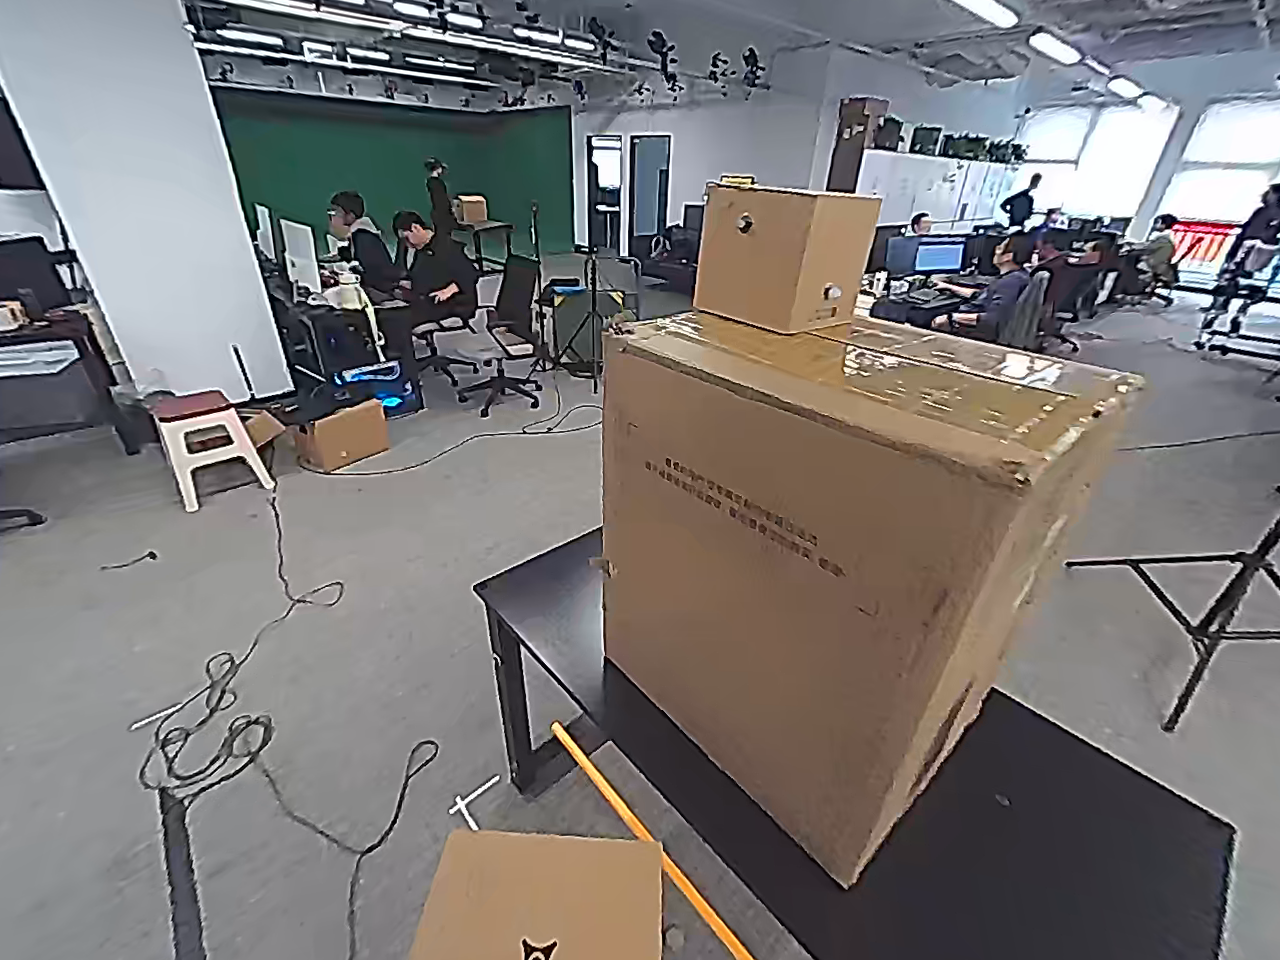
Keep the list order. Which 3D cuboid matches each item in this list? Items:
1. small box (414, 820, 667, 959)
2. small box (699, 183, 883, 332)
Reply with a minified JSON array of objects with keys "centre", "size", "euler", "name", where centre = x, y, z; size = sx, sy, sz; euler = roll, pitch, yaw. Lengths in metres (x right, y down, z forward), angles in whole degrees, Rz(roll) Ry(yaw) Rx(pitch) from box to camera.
[{"centre":[-0.068,0.383,0.385],"size":[0.168,0.176,0.179],"euler":[2,29,1],"name":"small box"},{"centre":[0.203,-0.316,0.767],"size":[0.168,0.176,0.179],"euler":[-20,38,-37],"name":"small box"}]
